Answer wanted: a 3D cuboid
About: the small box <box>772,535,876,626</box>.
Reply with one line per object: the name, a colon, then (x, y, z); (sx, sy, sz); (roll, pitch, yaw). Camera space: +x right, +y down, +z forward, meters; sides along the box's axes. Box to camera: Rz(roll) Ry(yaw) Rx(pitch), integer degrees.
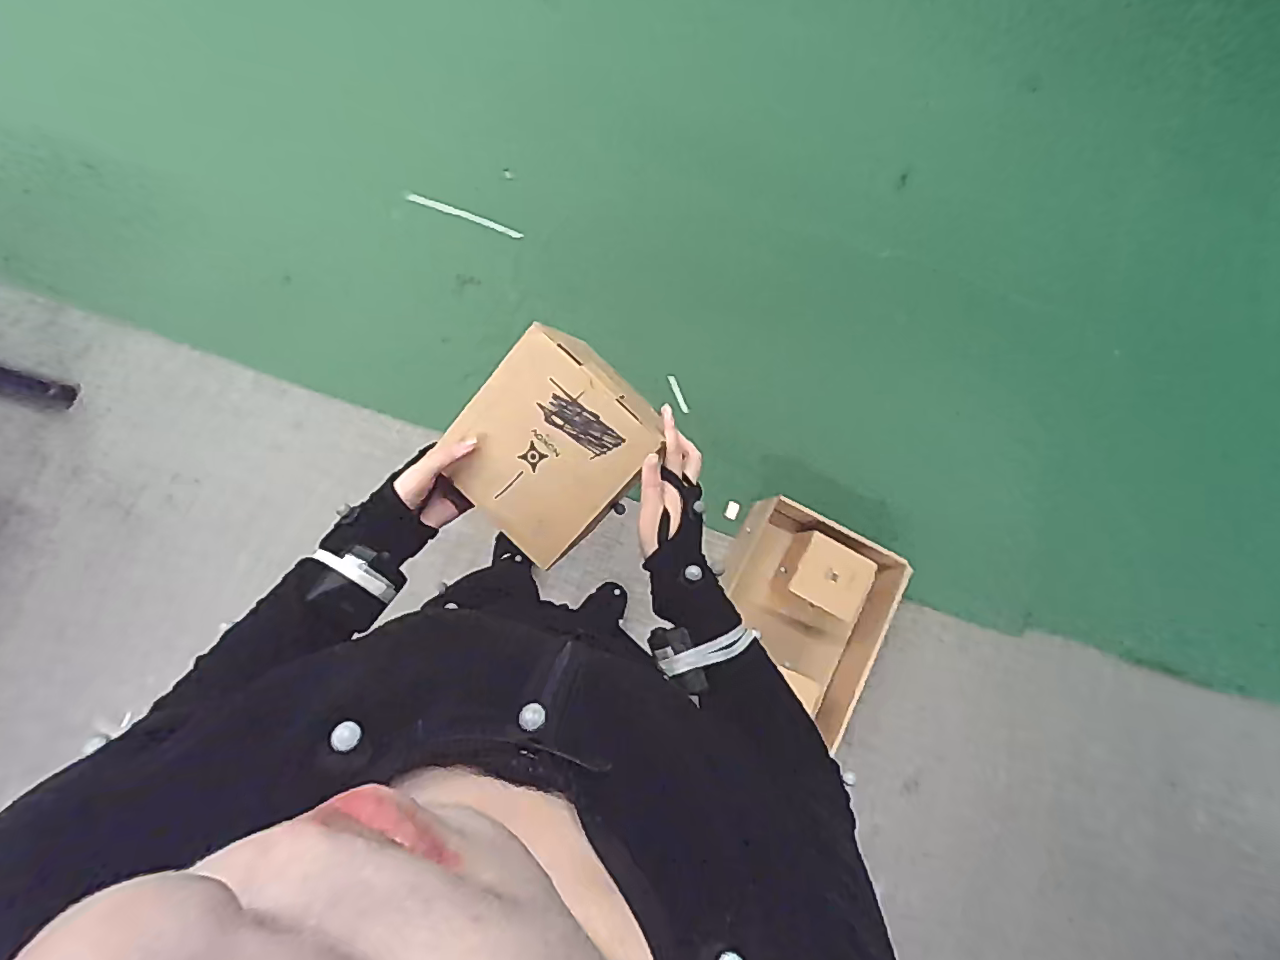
small box: (0.470, 0.259, 1.413); (0.179, 0.176, 0.168); (30, 83, 1)
